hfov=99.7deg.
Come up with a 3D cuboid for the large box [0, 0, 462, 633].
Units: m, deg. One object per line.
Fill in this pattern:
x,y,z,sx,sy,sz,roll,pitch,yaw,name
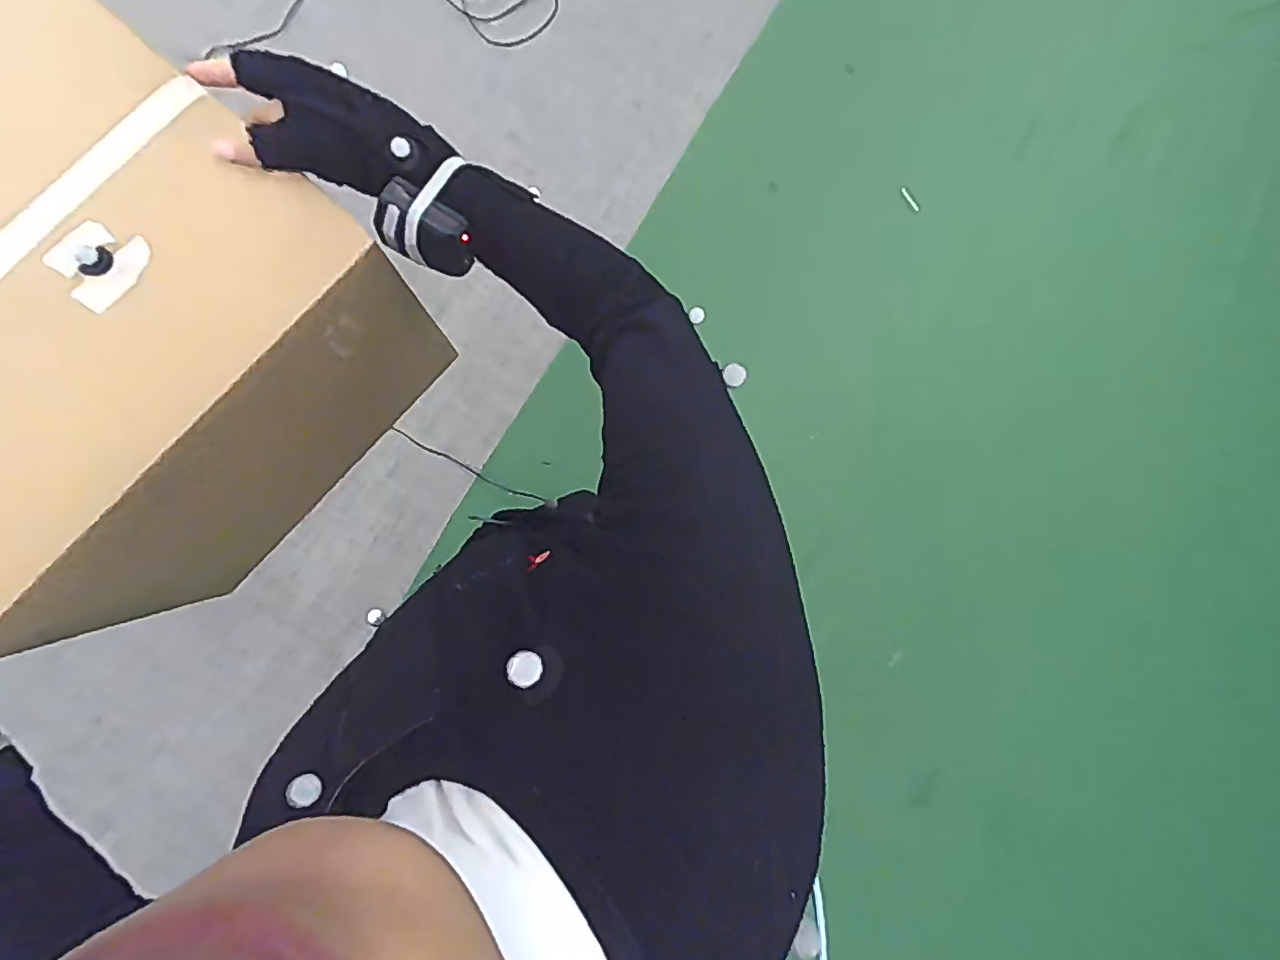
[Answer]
-0.447,-0.131,0.524,0.320,0.320,0.408,41,83,-5,large box
